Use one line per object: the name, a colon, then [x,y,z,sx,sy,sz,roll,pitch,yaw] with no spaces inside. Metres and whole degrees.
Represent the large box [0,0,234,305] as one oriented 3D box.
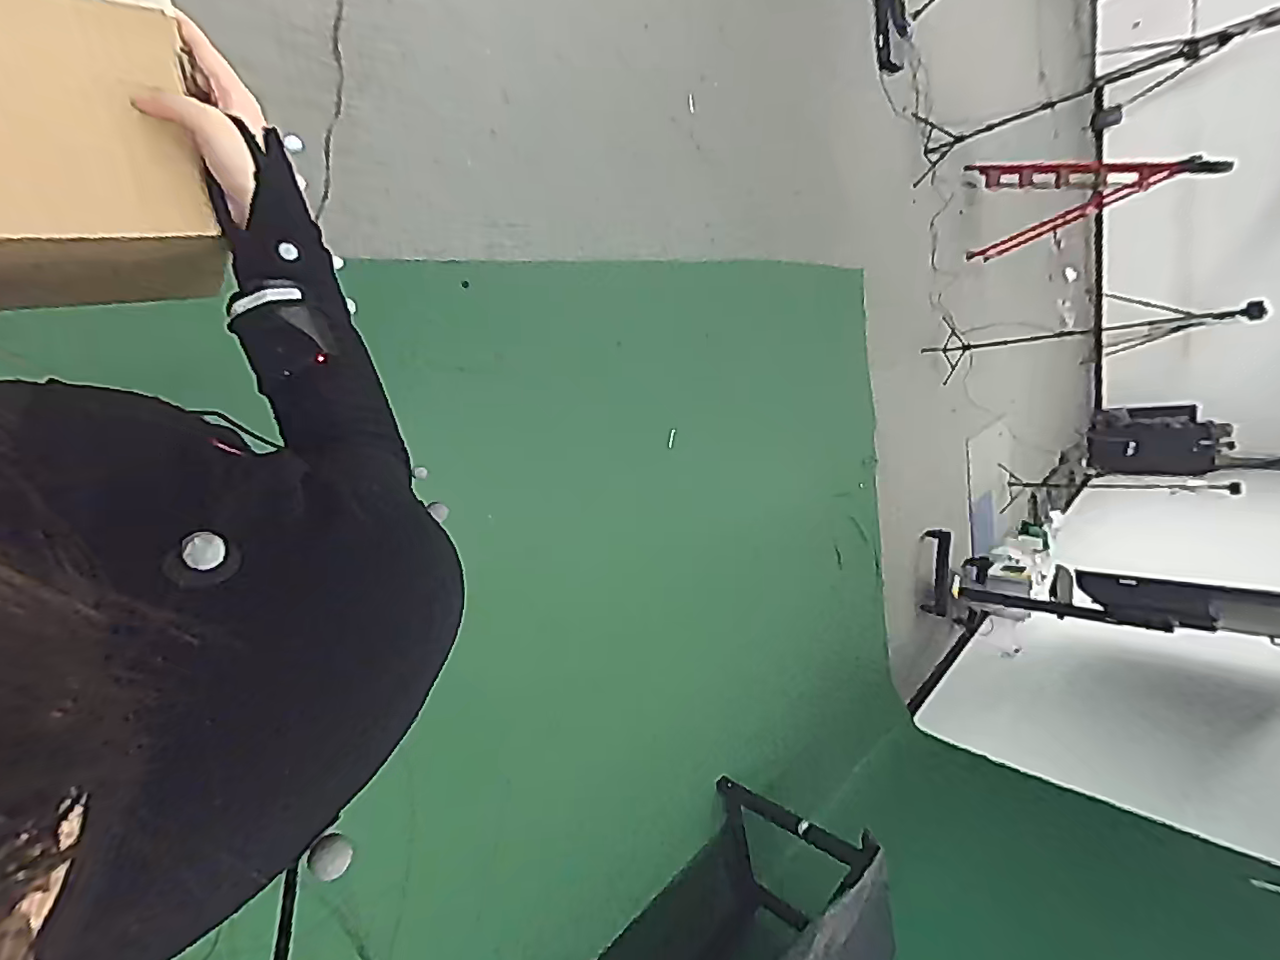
large box: [-0.590,-0.300,0.394,0.408,0.320,0.320,-19,108,-35]
